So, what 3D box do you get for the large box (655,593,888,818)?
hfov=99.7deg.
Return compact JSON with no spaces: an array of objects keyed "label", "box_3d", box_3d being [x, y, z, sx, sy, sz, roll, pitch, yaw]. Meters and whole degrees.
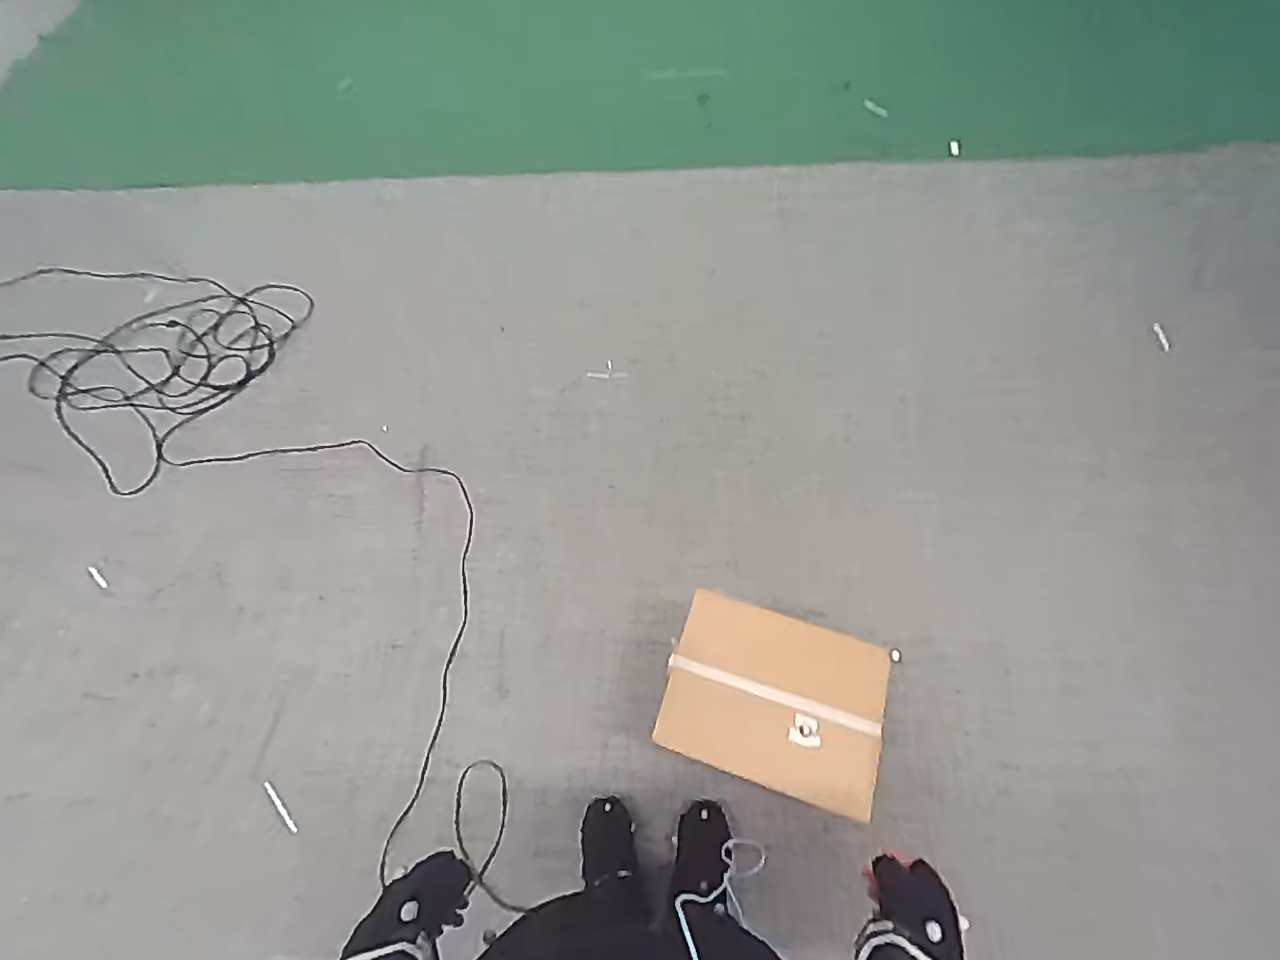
[{"label":"large box","box_3d":[0.263,0.483,1.178,0.408,0.320,0.320,16,66,9]}]
